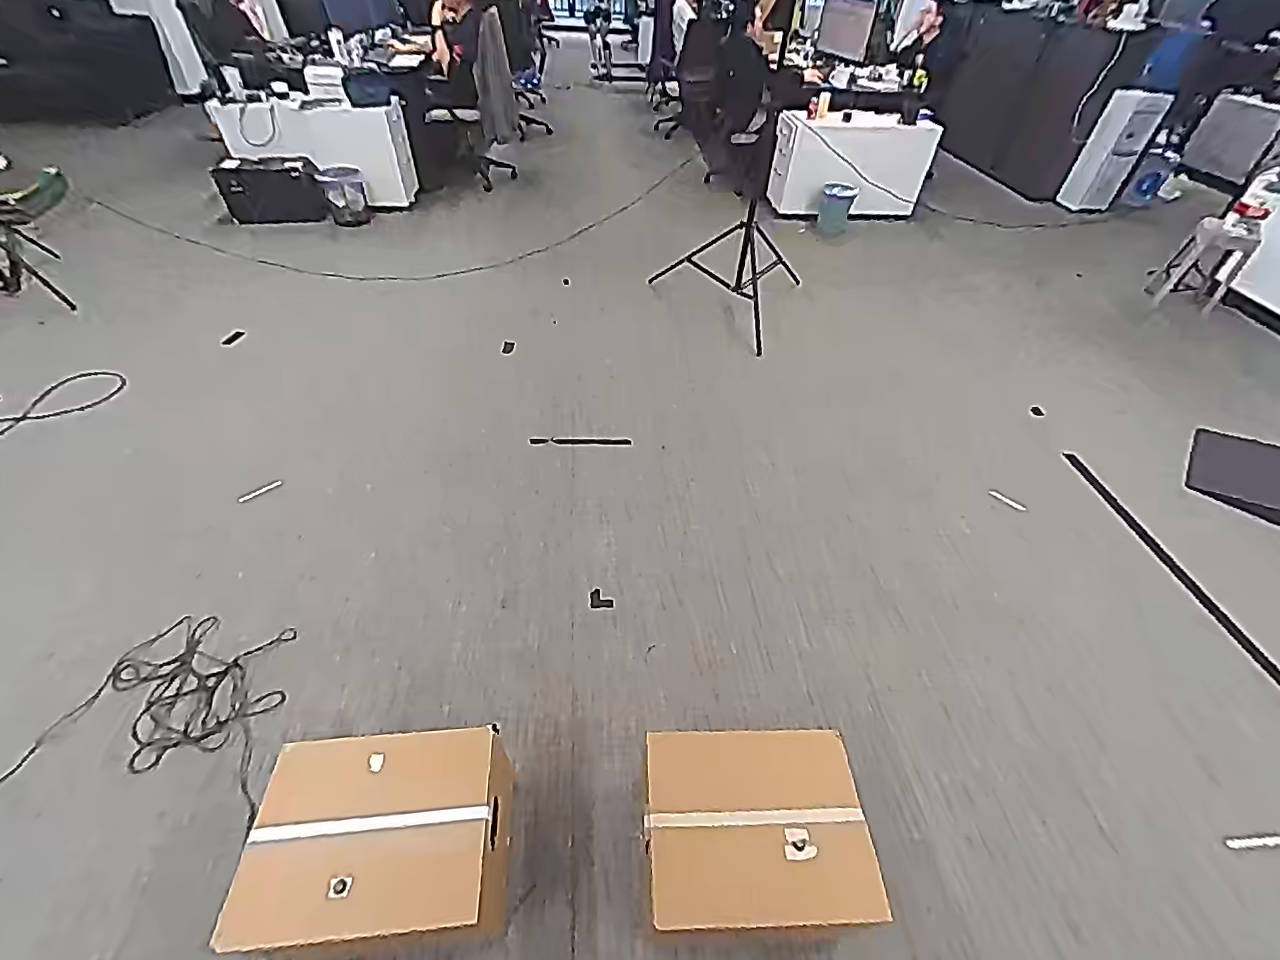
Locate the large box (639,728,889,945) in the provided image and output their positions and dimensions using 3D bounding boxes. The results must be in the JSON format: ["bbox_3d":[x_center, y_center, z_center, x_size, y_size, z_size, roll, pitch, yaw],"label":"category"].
[{"bbox_3d":[0.212,0.731,1.113,0.408,0.320,0.320,1,45,-4],"label":"large box"}]
